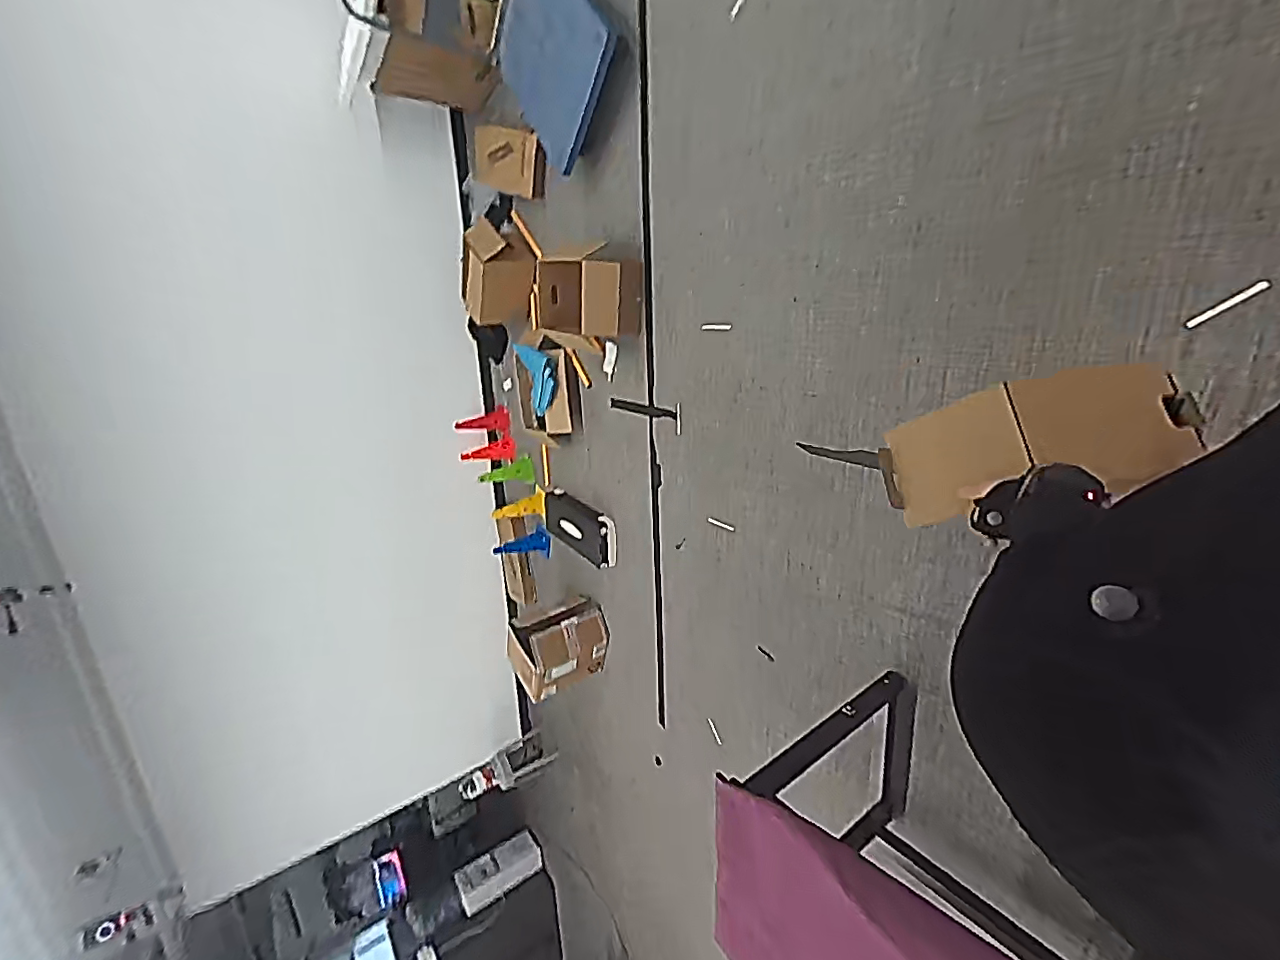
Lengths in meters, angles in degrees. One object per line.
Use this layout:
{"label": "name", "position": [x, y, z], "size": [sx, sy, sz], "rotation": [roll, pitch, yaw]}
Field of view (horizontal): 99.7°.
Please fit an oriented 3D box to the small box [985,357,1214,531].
{"label": "small box", "position": [0.594, -0.037, 0.735], "size": [0.179, 0.176, 0.168], "rotation": [-9, 66, 17]}
